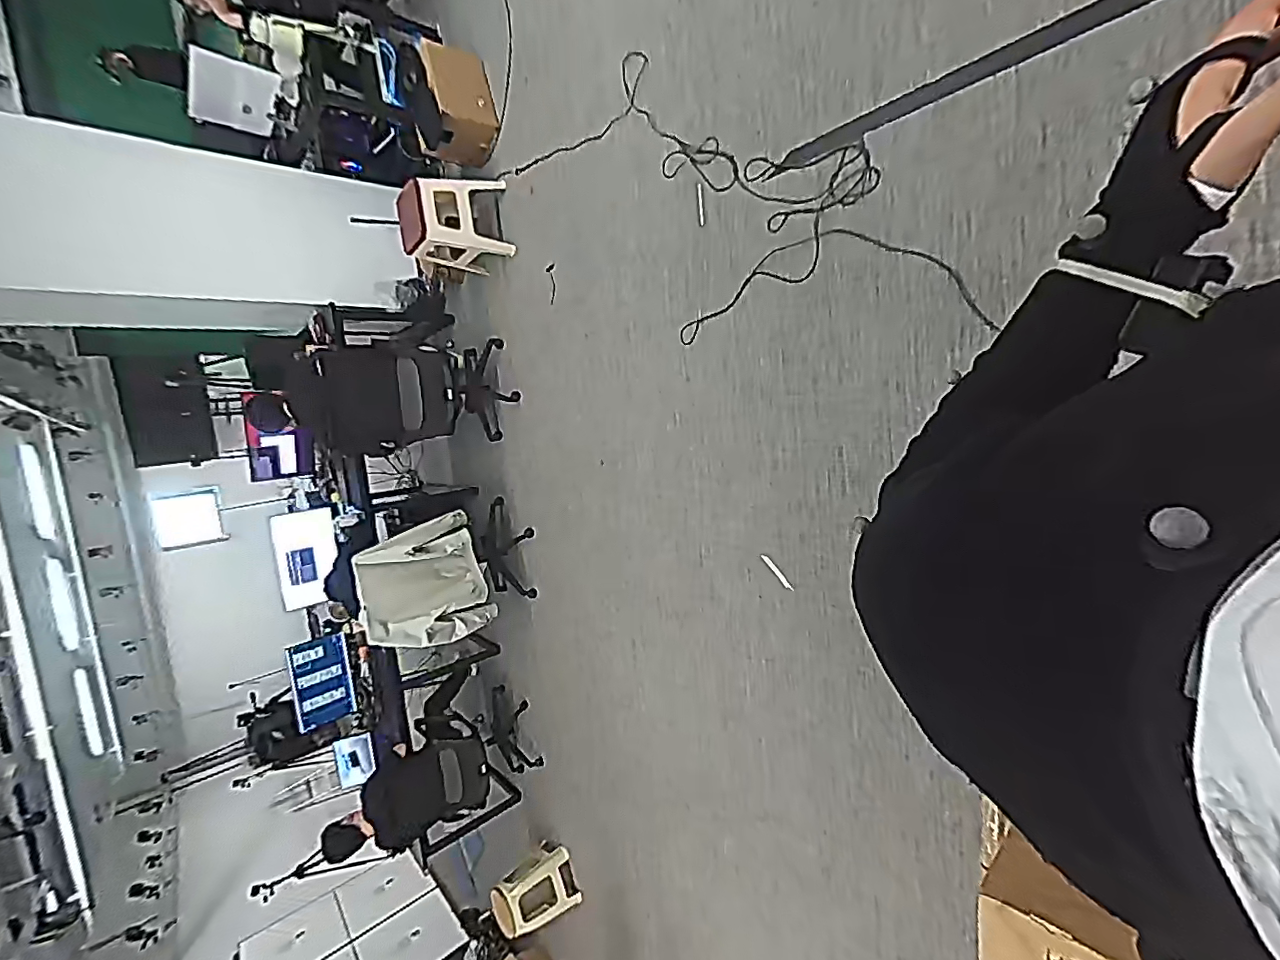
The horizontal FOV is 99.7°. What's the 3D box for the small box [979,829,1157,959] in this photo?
[{"bbox_3d":[0.586,0.637,0.741,0.168,0.176,0.179,3,100,48],"label":"small box"}]
